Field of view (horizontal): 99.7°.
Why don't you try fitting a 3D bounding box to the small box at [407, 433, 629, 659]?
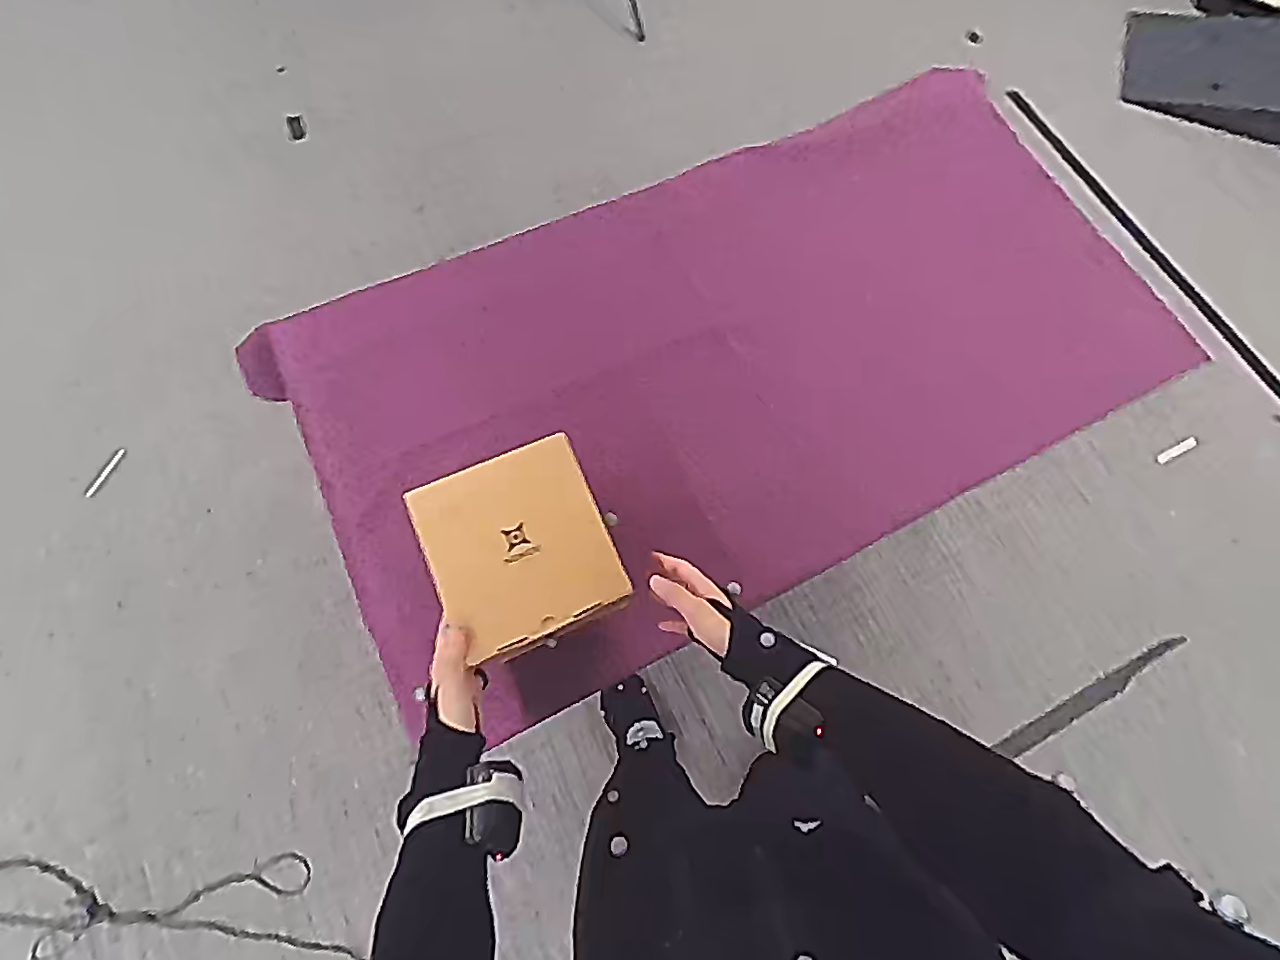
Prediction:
[{"bbox_3d":[-0.124,0.079,0.590,0.168,0.176,0.179,-23,77,-10],"label":"small box"}]
